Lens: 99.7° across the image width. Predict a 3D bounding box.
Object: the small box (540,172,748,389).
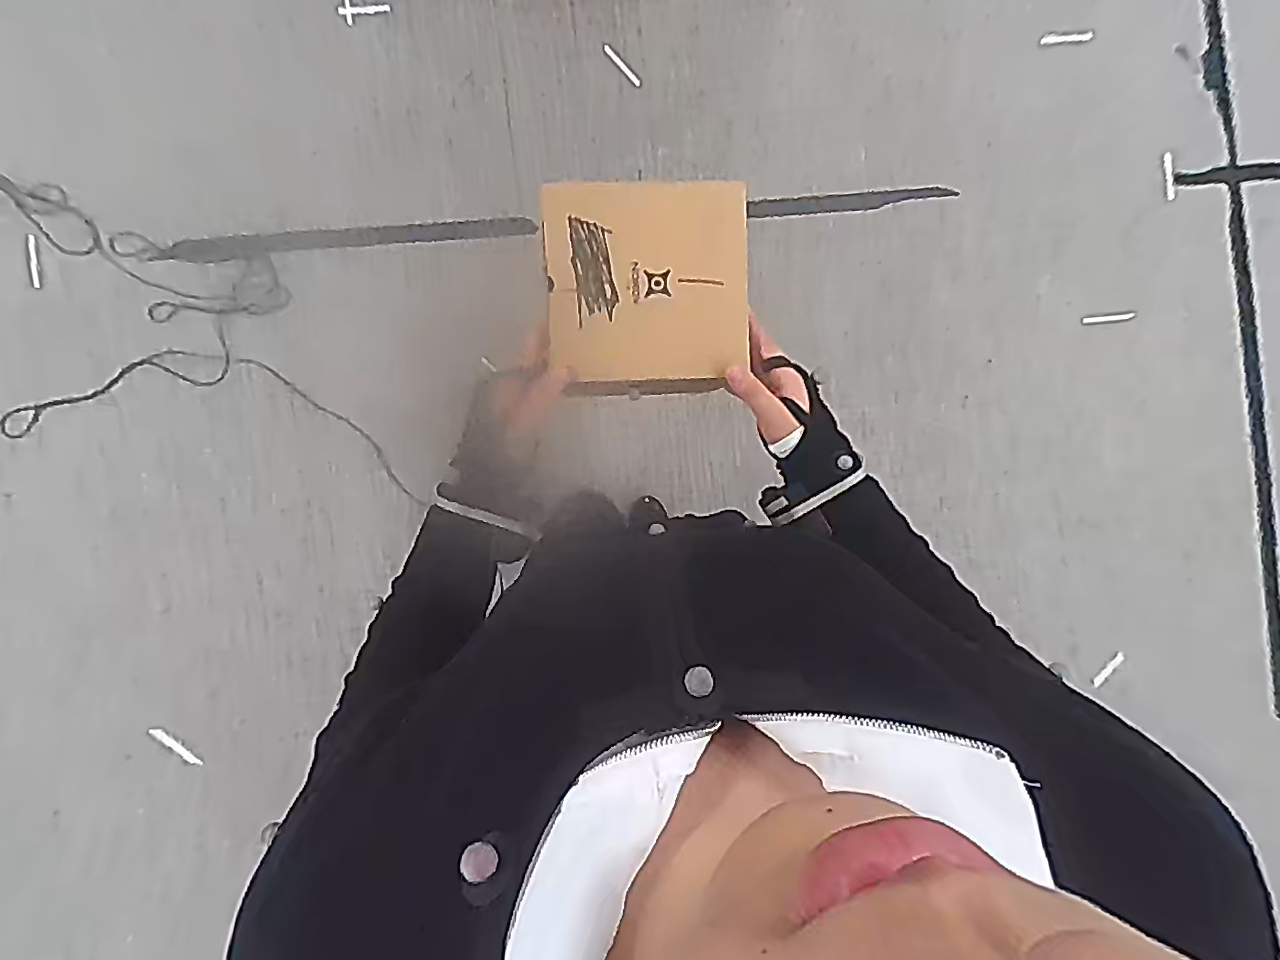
[{"bbox_3d":[0.001,-0.183,0.541,0.179,0.176,0.168,-3,94,-4],"label":"small box"}]
